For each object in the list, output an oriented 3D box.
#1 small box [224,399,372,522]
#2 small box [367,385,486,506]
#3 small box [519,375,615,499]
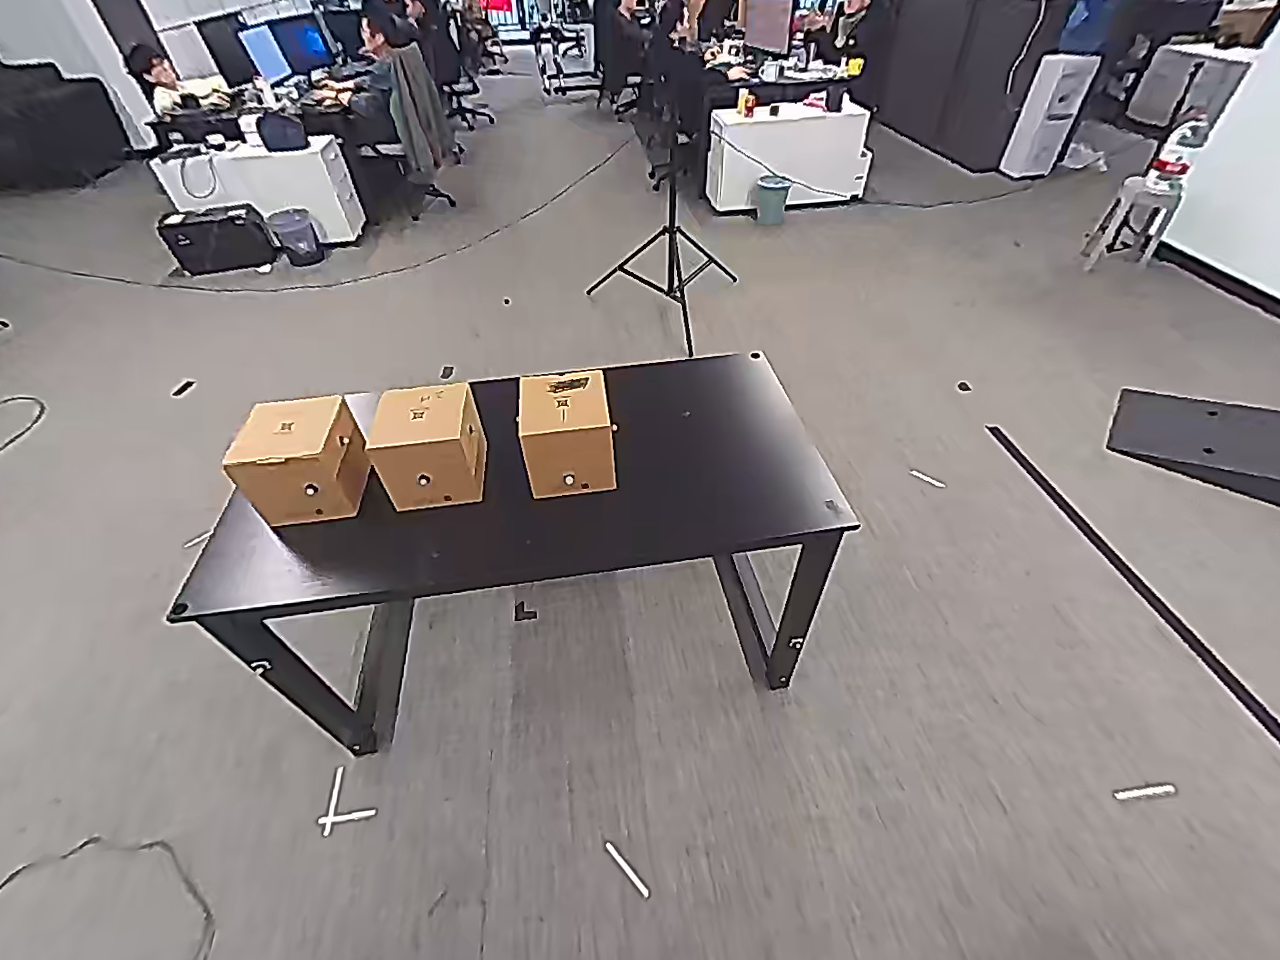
[{"bbox_3d":[-0.643,-0.032,1.044,0.168,0.176,0.179,-7,44,-6],"label":"small box"},{"bbox_3d":[-0.405,-0.062,1.061,0.168,0.176,0.179,-6,45,-5],"label":"small box"},{"bbox_3d":[-0.142,-0.086,1.075,0.168,0.176,0.179,-7,46,-4],"label":"small box"}]
